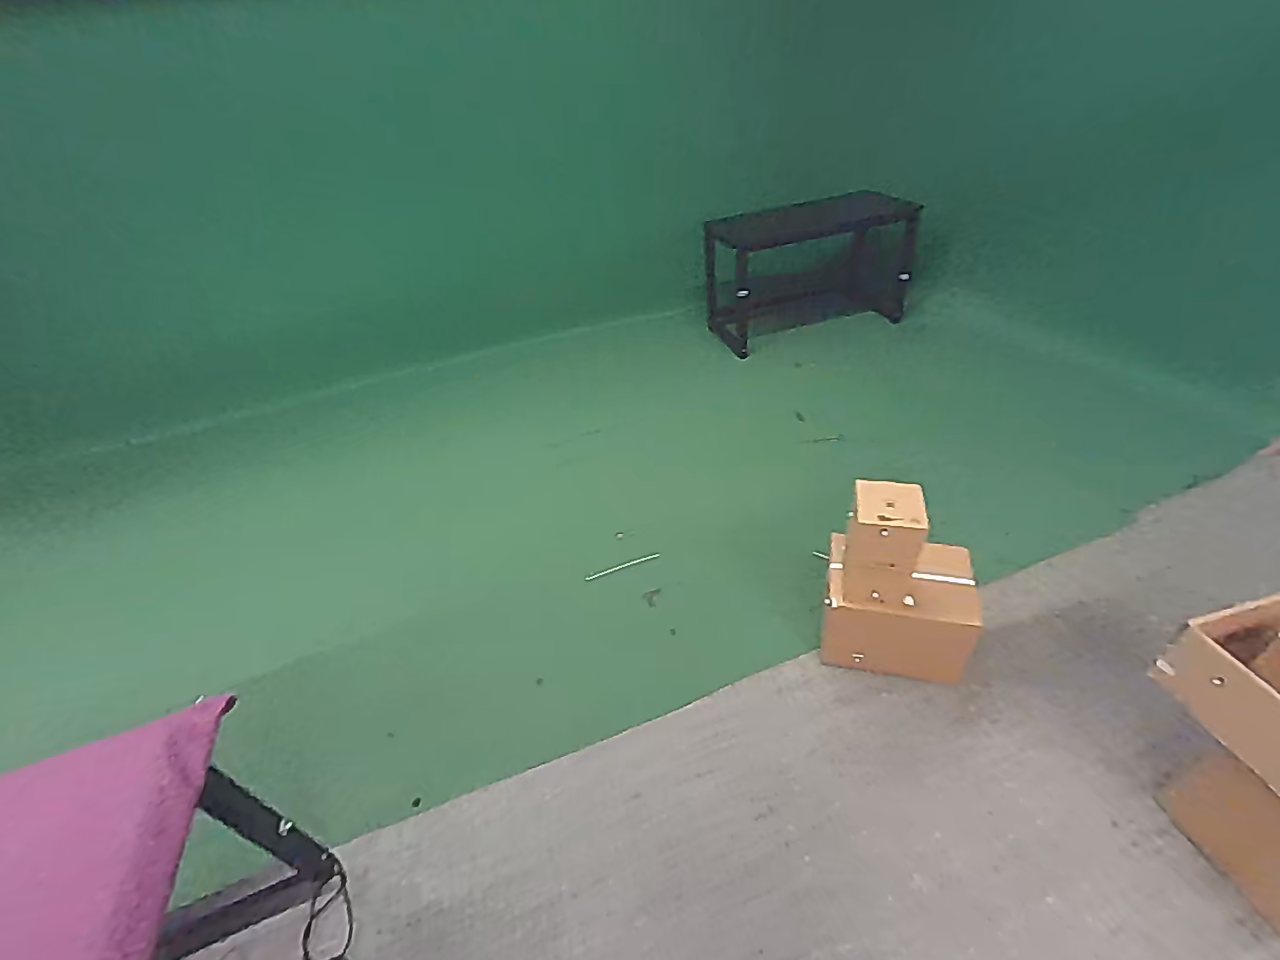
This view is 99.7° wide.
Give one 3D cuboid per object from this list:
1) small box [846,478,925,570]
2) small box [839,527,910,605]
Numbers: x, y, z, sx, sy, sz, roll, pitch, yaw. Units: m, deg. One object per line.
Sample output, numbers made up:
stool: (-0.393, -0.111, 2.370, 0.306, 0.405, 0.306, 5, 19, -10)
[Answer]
small box: (0.662, 0.118, 1.477, 0.168, 0.176, 0.179, 5, 40, 15)
small box: (0.681, 0.238, 1.588, 0.168, 0.176, 0.179, 5, 41, 15)
